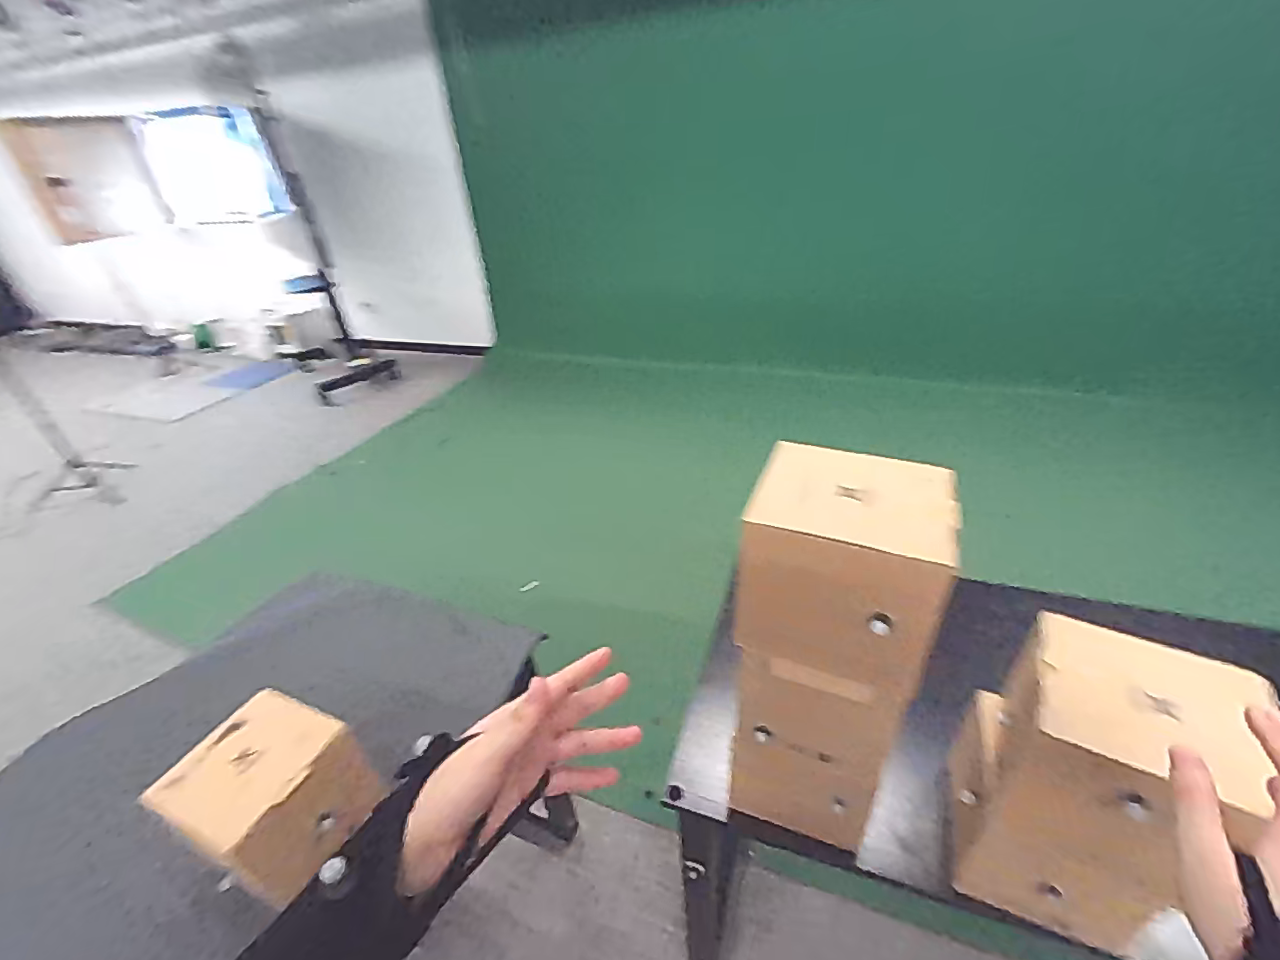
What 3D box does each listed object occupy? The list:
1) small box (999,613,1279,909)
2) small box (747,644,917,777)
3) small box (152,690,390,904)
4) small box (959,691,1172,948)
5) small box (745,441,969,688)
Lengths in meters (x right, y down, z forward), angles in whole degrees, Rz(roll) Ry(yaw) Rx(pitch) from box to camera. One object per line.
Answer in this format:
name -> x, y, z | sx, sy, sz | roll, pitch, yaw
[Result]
small box -> 0.482, 0.270, 0.529 | 0.179, 0.176, 0.168 | 16, 38, 29
small box -> 0.229, 0.213, 0.649 | 0.168, 0.176, 0.179 | 11, 35, 22
small box -> -0.476, 0.423, 0.727 | 0.179, 0.176, 0.168 | 9, 36, 24
small box -> 0.489, 0.394, 0.637 | 0.168, 0.176, 0.179 | 11, 36, 23
small box -> 0.215, 0.082, 0.555 | 0.179, 0.176, 0.168 | 11, 34, 23
